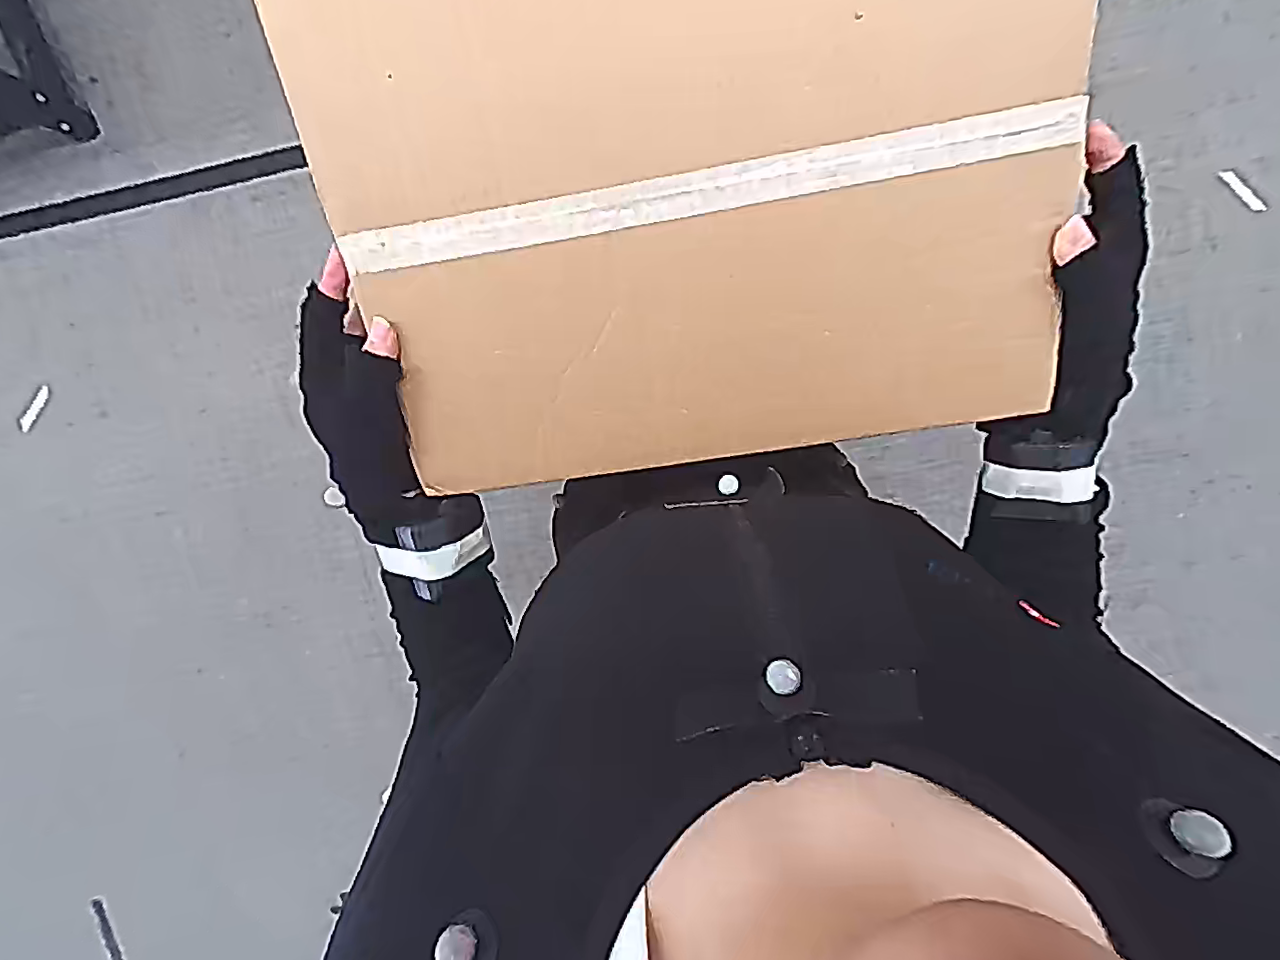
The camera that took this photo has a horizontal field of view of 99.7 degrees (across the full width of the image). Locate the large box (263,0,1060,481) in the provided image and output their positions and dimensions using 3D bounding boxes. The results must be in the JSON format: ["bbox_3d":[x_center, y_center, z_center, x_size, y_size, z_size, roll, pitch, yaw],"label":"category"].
[{"bbox_3d":[0.026,-0.224,0.443,0.408,0.320,0.320,-8,112,4],"label":"large box"}]
